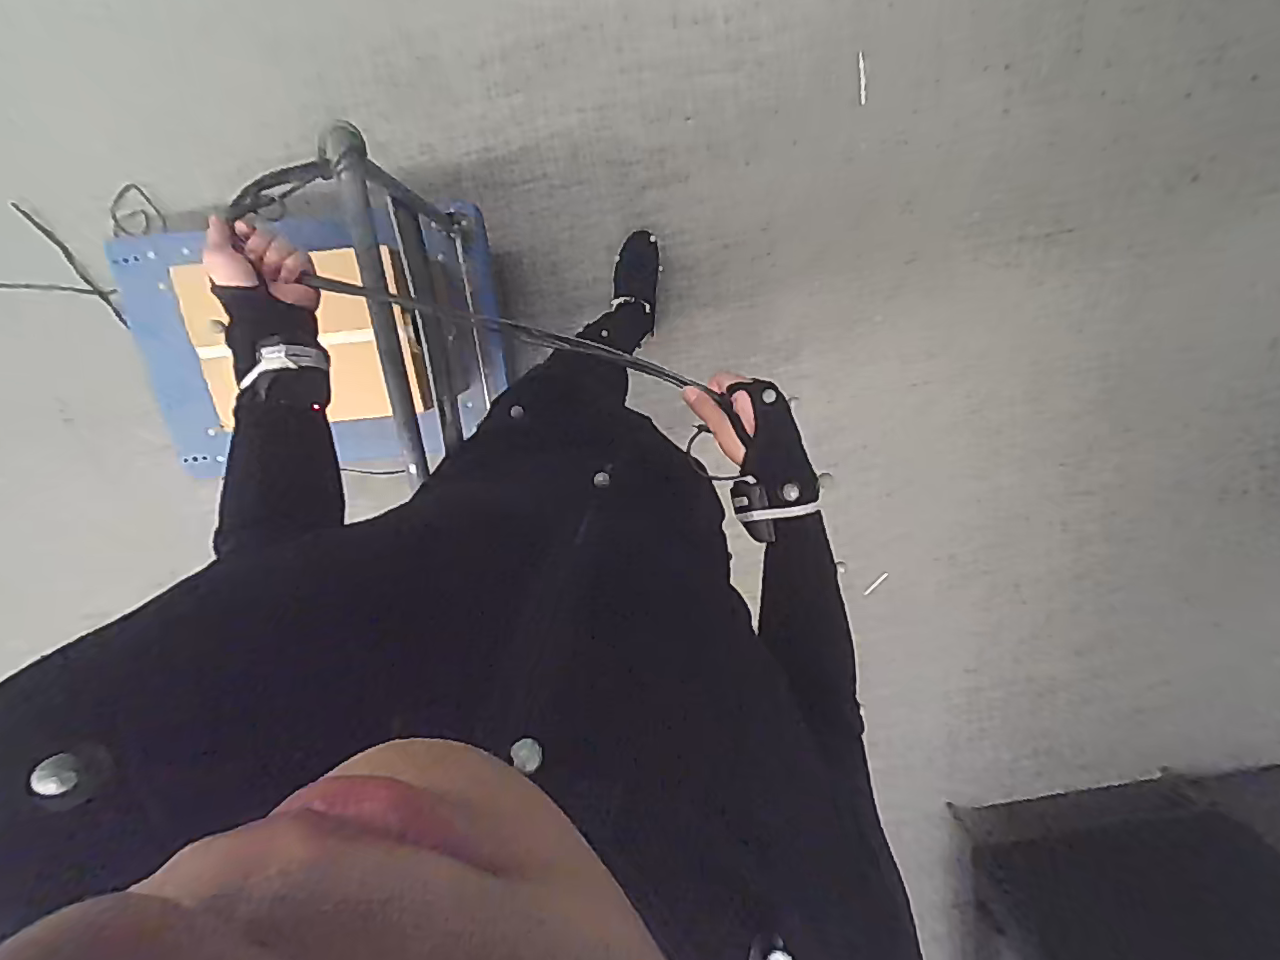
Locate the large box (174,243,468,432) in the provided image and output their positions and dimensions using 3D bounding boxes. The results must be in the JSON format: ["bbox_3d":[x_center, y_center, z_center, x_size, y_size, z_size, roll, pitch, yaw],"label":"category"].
[{"bbox_3d":[-0.637,-0.305,1.164,0.408,0.320,0.320,-6,106,1],"label":"large box"}]
